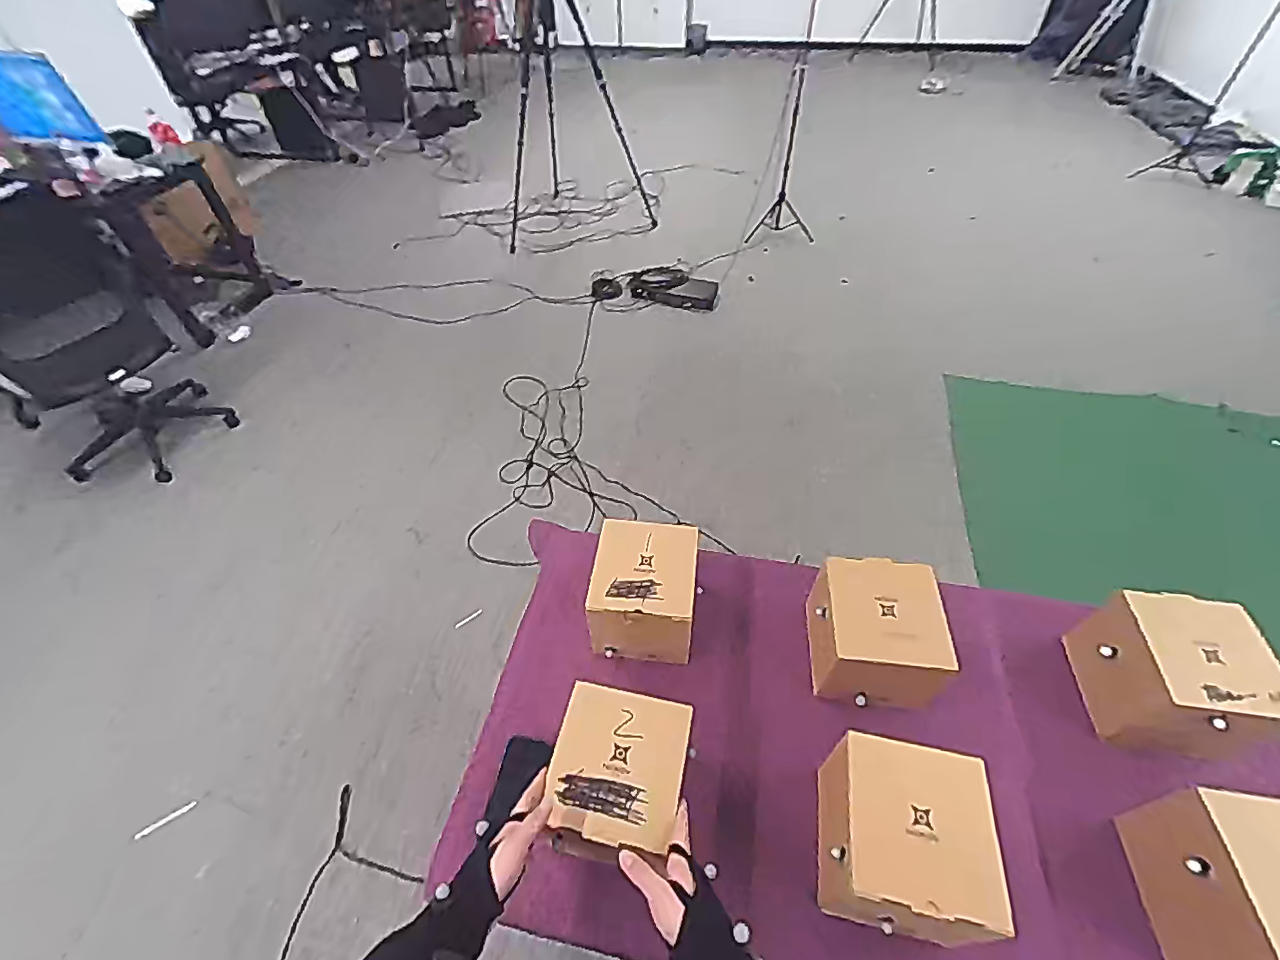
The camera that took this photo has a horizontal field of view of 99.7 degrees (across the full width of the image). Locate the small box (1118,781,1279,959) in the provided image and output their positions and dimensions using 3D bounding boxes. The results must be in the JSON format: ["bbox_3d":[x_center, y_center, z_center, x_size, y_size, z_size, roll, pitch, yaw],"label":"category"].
[{"bbox_3d":[0.728,0.486,0.637,0.168,0.176,0.179,6,47,8],"label":"small box"}]

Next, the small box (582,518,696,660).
[{"bbox_3d":[0.005,0.189,0.925,0.168,0.176,0.179,5,48,5],"label":"small box"}]

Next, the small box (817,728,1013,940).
[{"bbox_3d":[0.326,0.448,0.685,0.168,0.176,0.179,9,48,9],"label":"small box"}]

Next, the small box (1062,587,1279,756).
[{"bbox_3d":[0.791,0.289,0.817,0.168,0.176,0.179,6,48,7],"label":"small box"}]

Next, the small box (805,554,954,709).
[{"bbox_3d":[0.368,0.243,0.870,0.168,0.176,0.179,4,49,7],"label":"small box"}]
